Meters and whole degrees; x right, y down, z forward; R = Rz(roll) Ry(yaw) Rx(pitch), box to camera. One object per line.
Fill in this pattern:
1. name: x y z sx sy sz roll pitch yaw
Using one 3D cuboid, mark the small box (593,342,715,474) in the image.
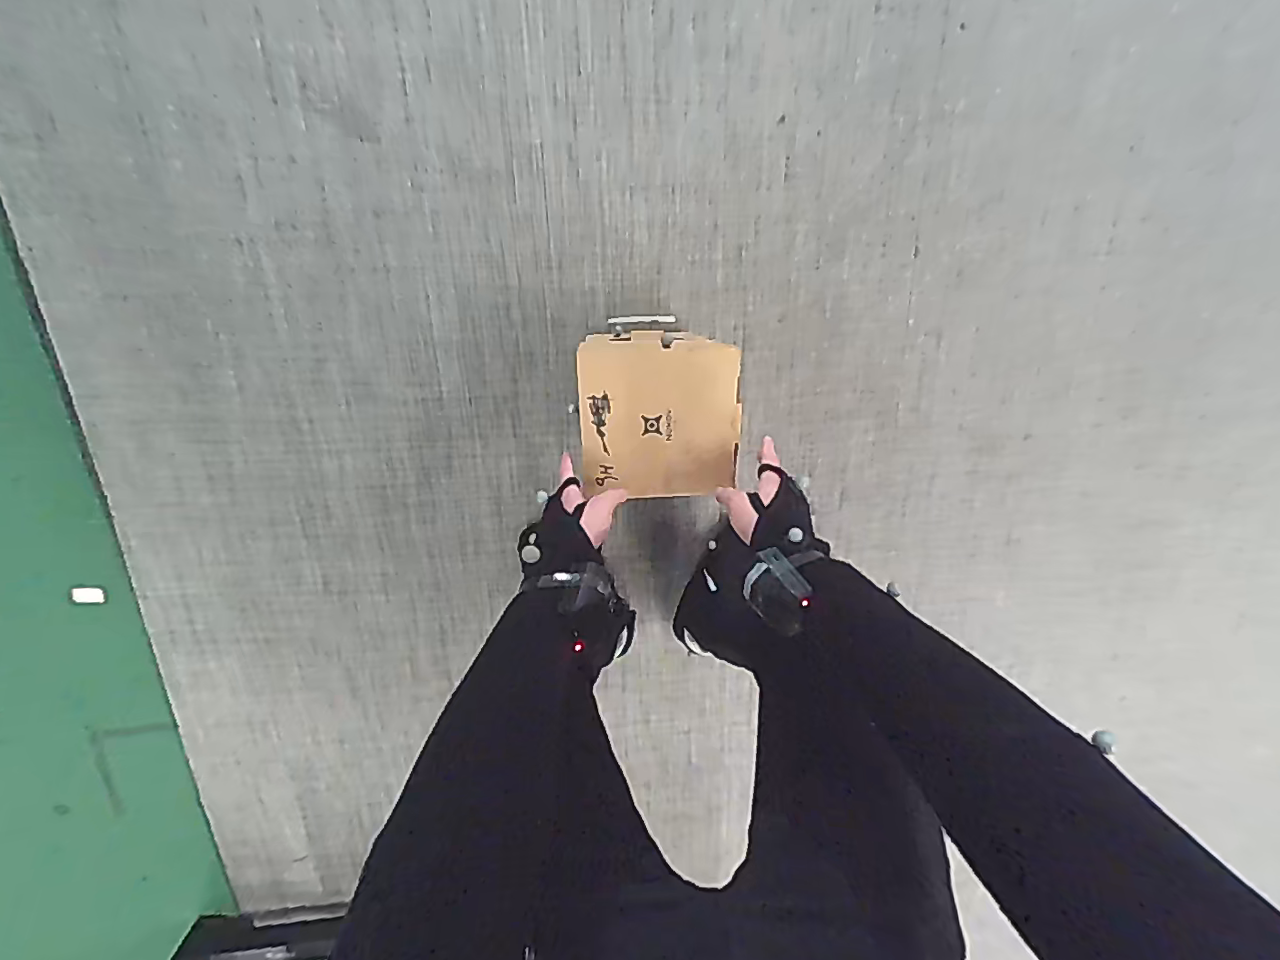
1. small box: 0.012 -0.115 0.811 0.168 0.176 0.179 0 107 -3
